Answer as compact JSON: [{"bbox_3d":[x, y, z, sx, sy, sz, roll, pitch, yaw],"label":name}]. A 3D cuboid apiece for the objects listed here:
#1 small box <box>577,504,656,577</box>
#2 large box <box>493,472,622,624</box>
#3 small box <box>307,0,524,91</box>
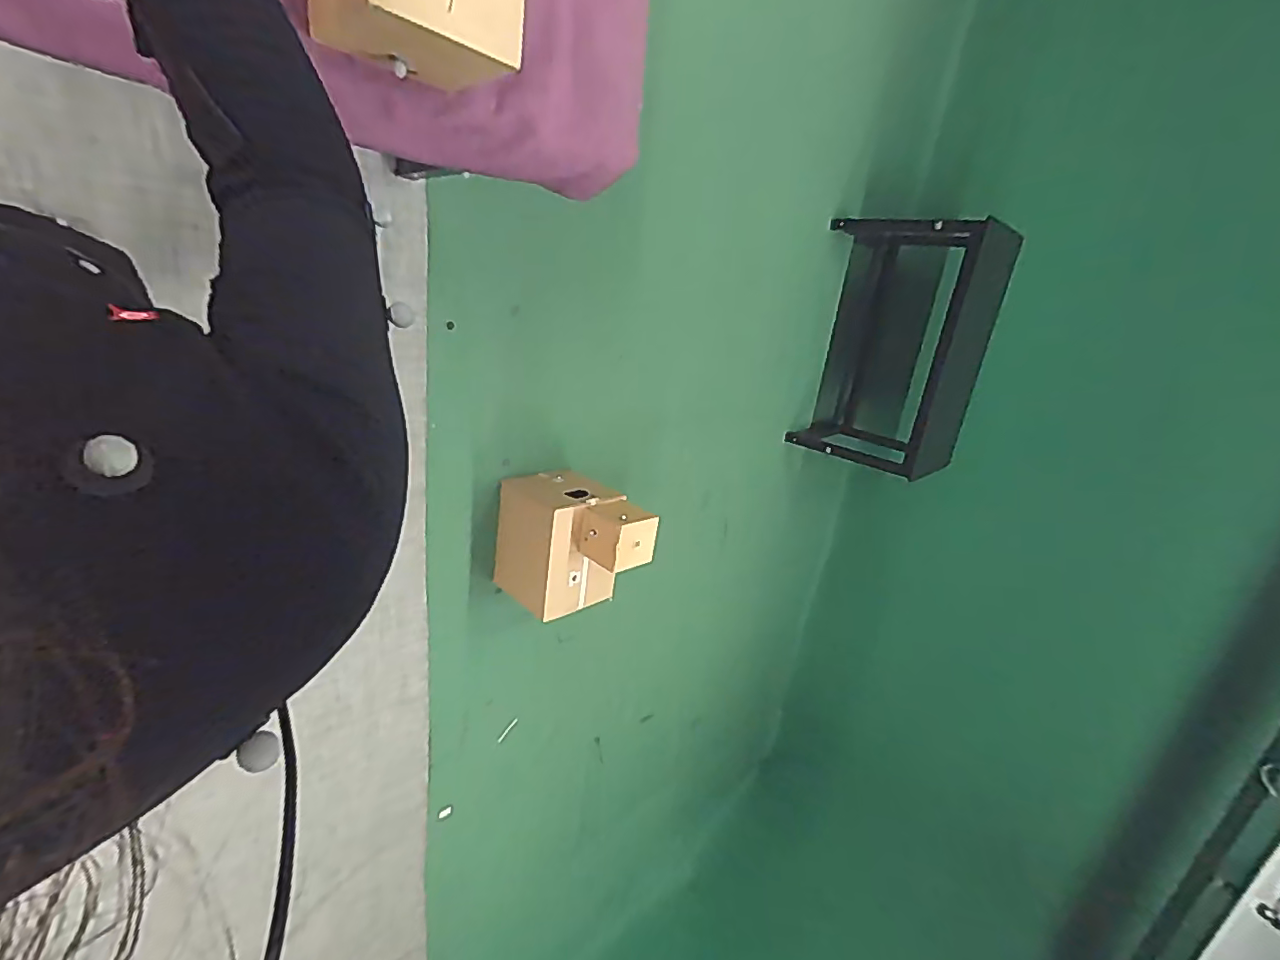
[{"bbox_3d":[-0.076,0.188,1.748,0.179,0.176,0.168,-9,116,-46],"label":"small box"},{"bbox_3d":[-0.298,0.219,1.899,0.320,0.320,0.408,-9,115,-45],"label":"large box"},{"bbox_3d":[-0.236,-0.545,0.565,0.168,0.176,0.179,-11,116,-44],"label":"small box"}]
